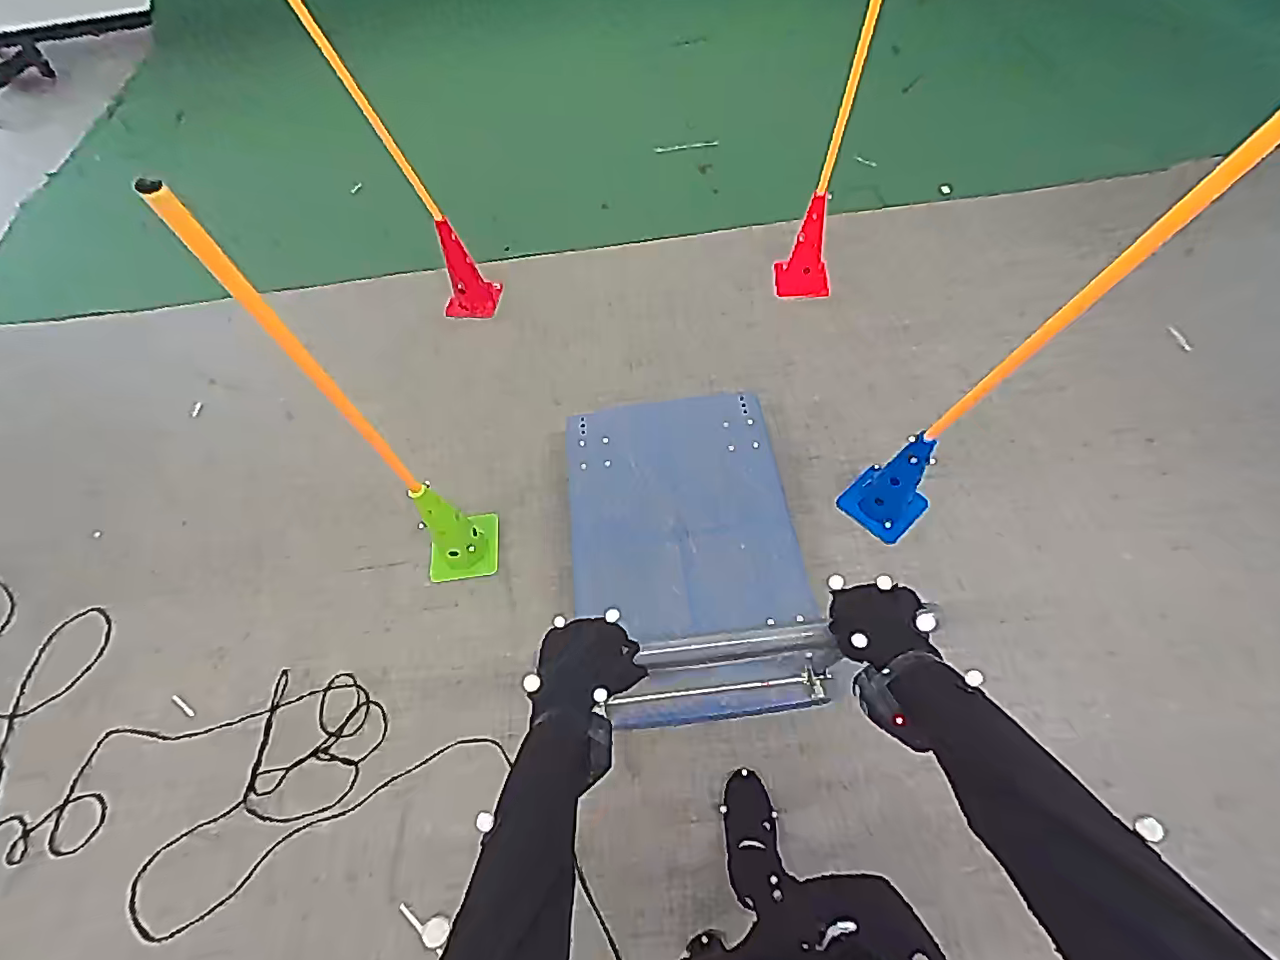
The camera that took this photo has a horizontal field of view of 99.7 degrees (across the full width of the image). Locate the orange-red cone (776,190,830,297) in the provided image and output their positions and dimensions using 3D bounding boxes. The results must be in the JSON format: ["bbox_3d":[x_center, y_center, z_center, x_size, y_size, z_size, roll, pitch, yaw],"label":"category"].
[{"bbox_3d":[0.611,-0.856,1.933,0.198,0.360,0.199,2,61,7],"label":"orange-red cone"}]
